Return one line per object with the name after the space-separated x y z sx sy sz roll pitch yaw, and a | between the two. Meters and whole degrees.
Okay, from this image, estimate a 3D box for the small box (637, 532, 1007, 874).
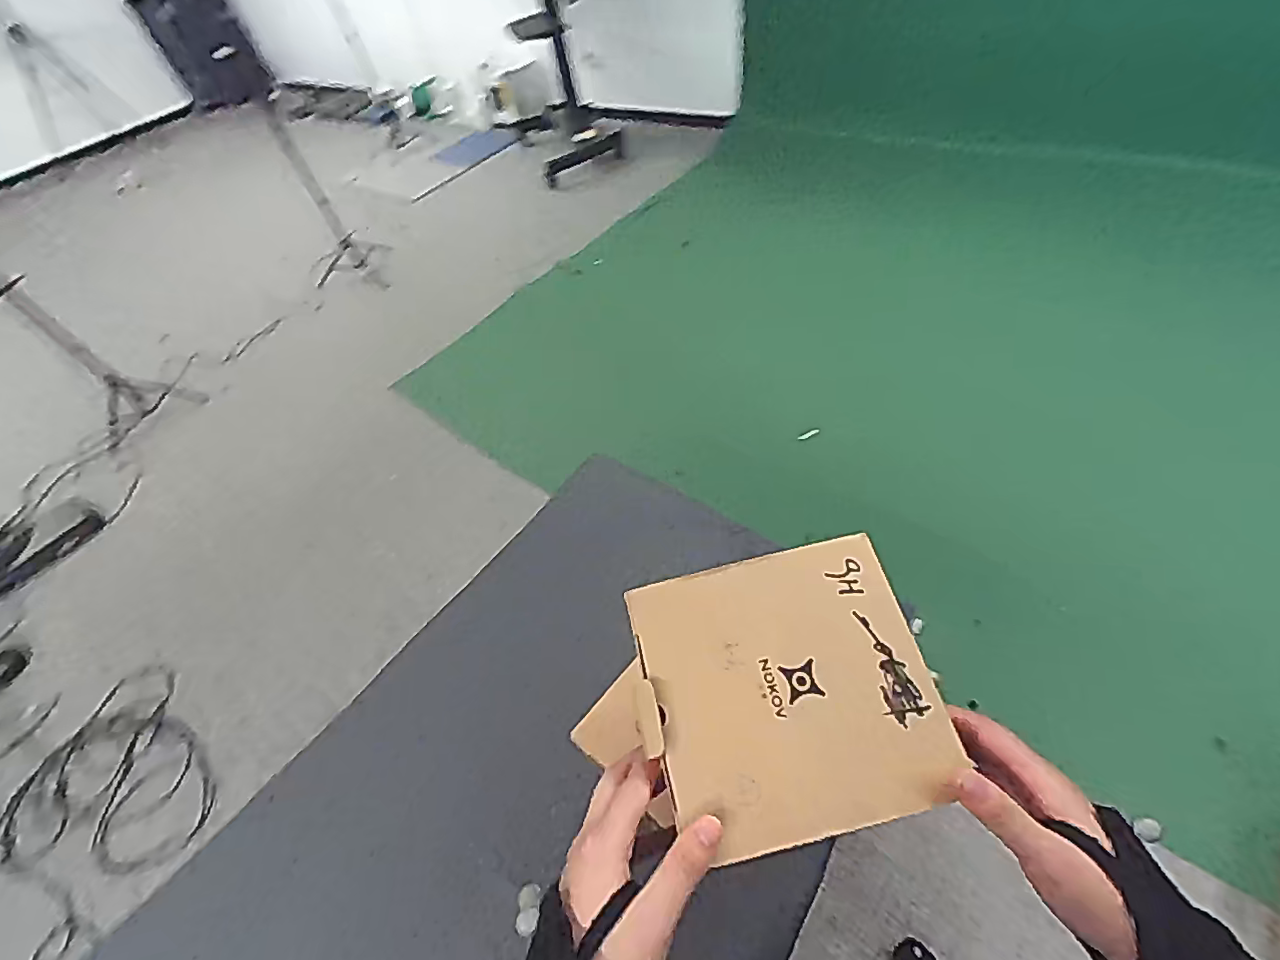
0.105 0.158 0.394 0.179 0.176 0.168 -13 63 -1 | small box

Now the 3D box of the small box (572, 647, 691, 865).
0.056 0.297 0.606 0.168 0.176 0.179 30 62 31 | small box
